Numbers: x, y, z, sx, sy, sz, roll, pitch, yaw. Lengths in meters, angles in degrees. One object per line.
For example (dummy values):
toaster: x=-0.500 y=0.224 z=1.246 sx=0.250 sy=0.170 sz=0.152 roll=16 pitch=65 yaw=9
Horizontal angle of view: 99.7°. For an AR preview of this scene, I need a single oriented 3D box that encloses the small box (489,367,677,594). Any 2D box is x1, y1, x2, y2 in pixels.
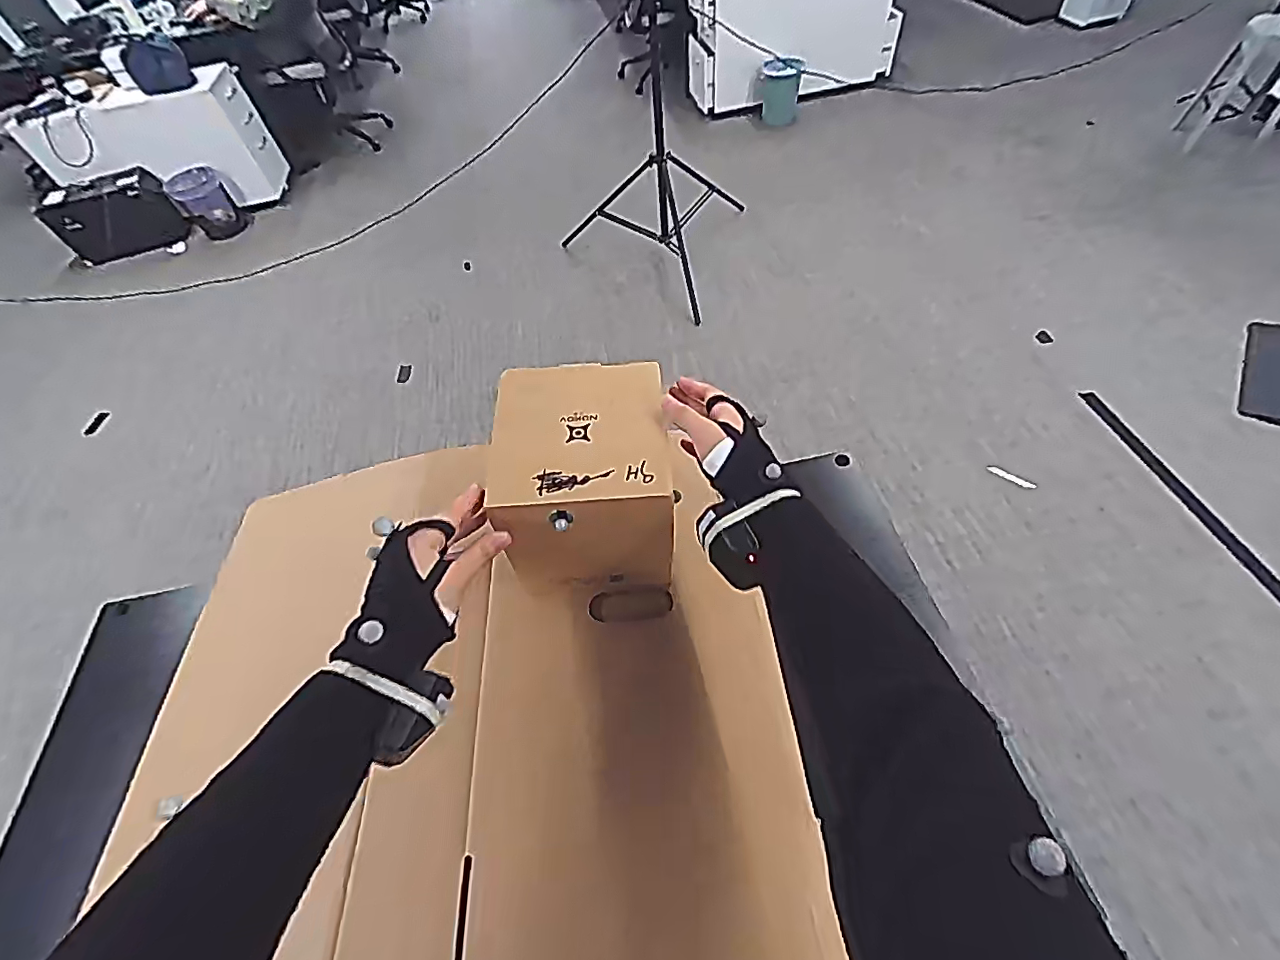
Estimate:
small box: x=-0.051 y=0.003 z=0.582 sx=0.168 sy=0.176 sz=0.179 roll=-4 pitch=52 yaw=0
